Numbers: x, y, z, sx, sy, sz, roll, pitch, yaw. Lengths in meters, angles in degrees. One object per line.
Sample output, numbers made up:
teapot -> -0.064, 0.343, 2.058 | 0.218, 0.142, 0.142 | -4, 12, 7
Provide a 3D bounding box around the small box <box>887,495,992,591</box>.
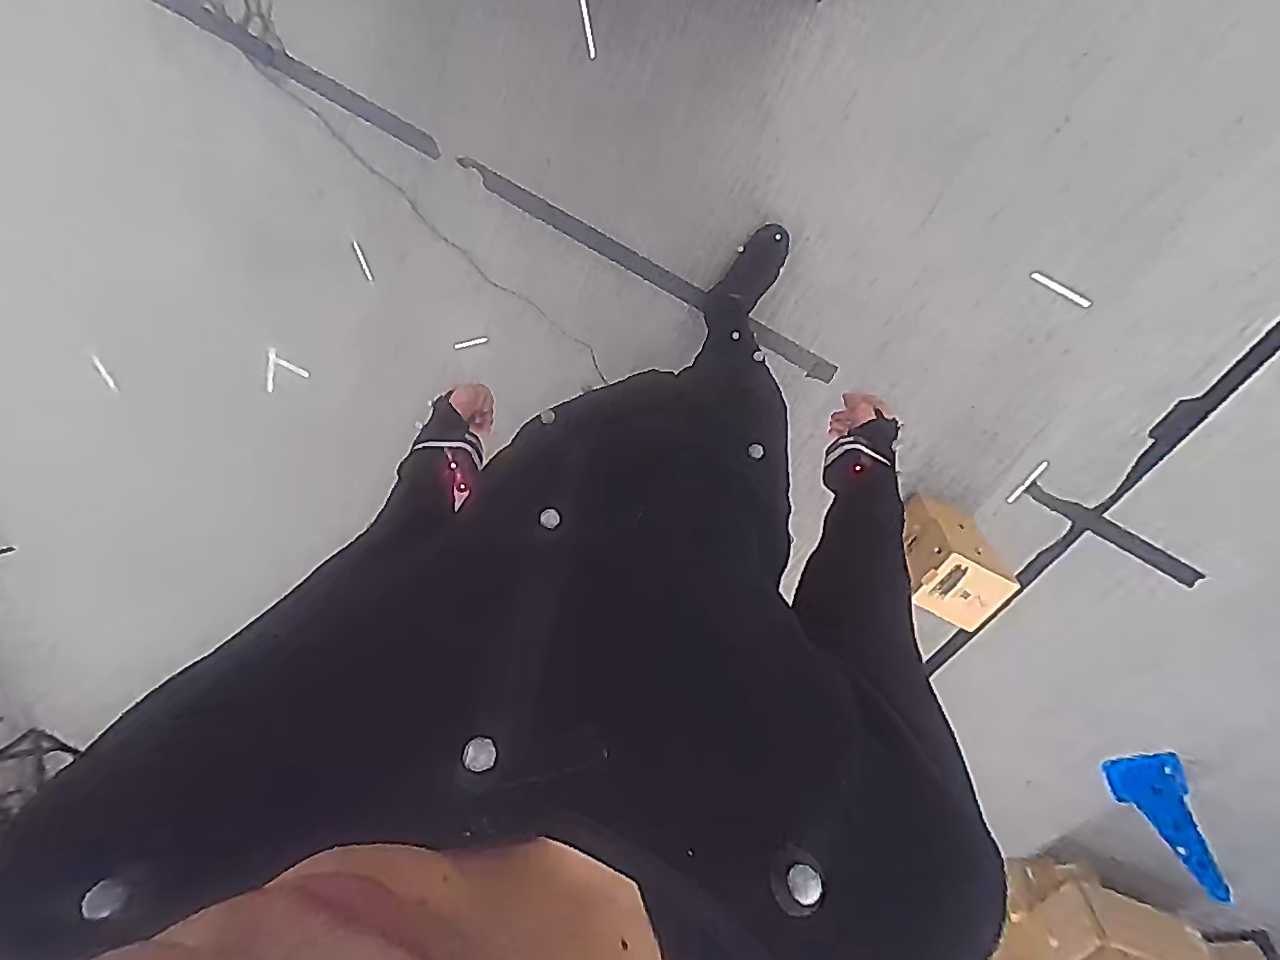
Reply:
small box -> 0.816, 0.167, 1.493 | 0.179, 0.176, 0.168 | 26, 119, 3
